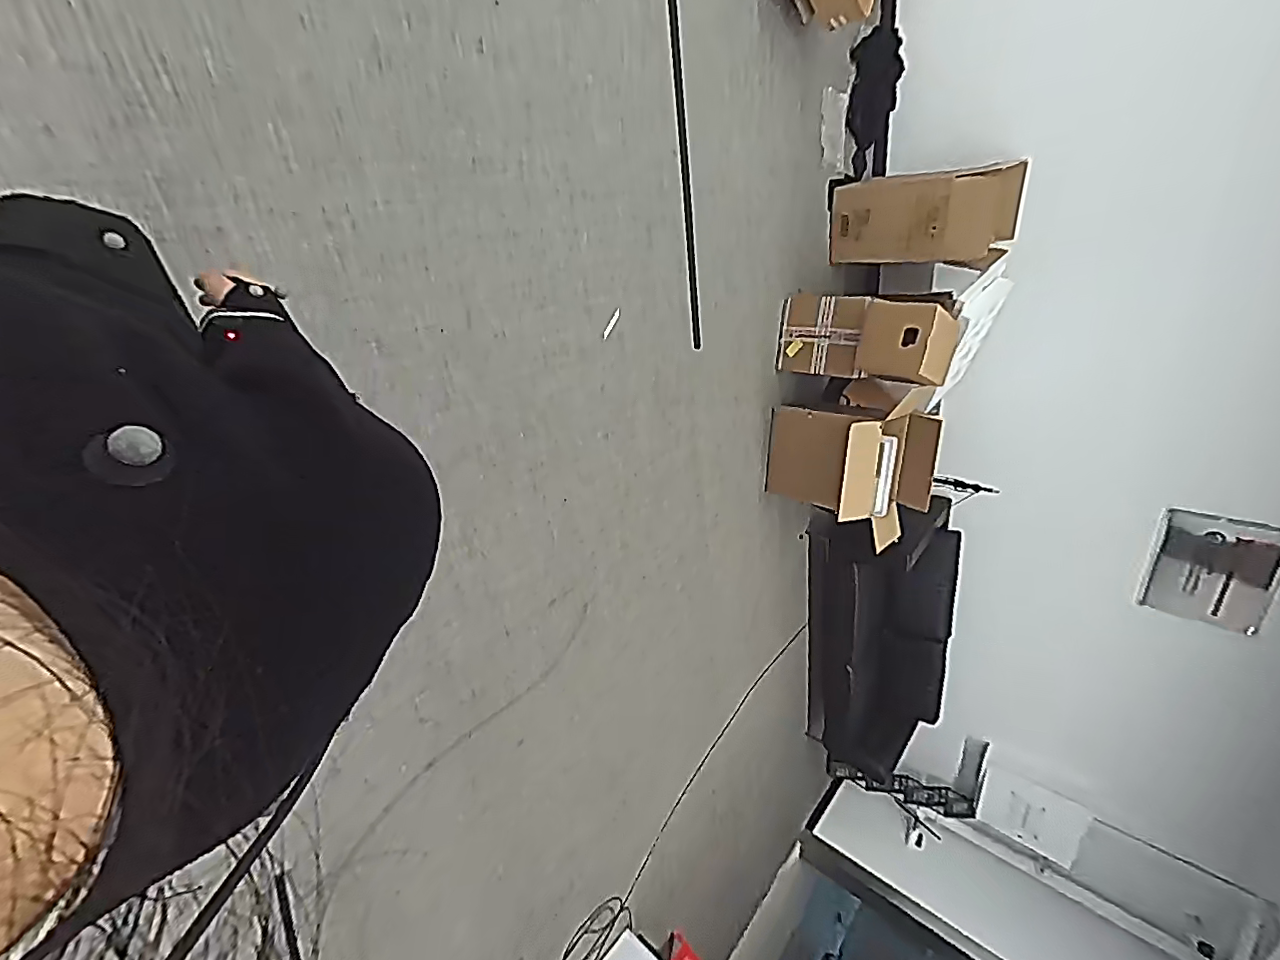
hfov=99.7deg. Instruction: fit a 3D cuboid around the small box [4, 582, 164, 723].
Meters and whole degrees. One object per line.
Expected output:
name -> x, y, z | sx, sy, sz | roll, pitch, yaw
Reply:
small box -> -1.109, 0.336, 1.086 | 0.168, 0.176, 0.179 | -32, 126, -38
